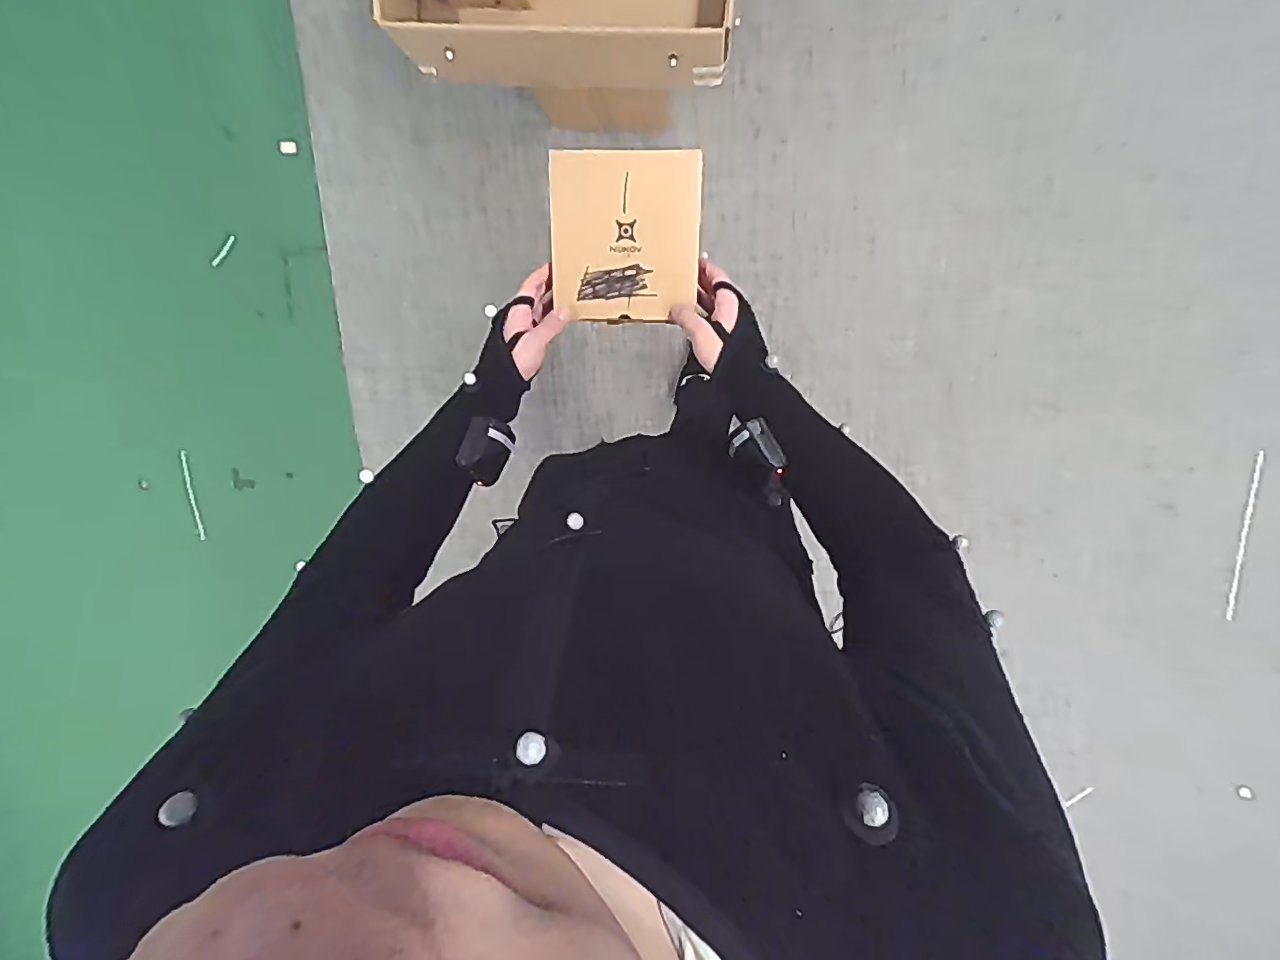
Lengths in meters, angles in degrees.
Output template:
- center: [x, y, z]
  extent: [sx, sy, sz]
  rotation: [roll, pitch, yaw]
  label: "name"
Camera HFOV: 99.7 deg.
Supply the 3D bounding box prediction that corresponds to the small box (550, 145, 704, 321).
- center: [-0.013, -0.291, 0.667]
  extent: [0.168, 0.176, 0.179]
  rotation: [2, 107, 2]
  label: "small box"
